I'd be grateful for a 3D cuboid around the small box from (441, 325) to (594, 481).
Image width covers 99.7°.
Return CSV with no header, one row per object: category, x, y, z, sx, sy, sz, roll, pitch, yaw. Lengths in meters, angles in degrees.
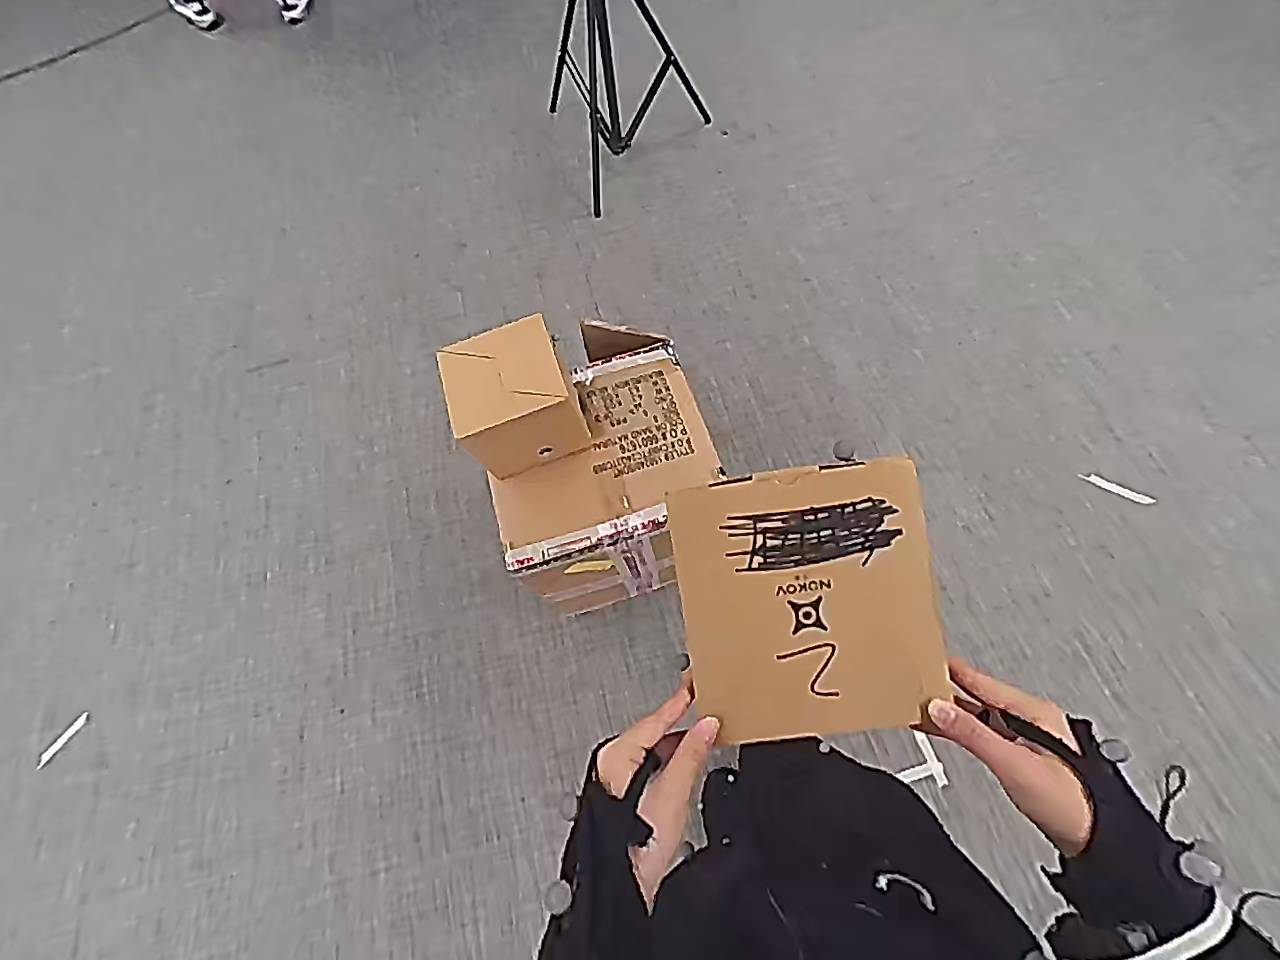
small box,-0.195,-0.125,0.883,0.179,0.176,0.168,-20,67,0
